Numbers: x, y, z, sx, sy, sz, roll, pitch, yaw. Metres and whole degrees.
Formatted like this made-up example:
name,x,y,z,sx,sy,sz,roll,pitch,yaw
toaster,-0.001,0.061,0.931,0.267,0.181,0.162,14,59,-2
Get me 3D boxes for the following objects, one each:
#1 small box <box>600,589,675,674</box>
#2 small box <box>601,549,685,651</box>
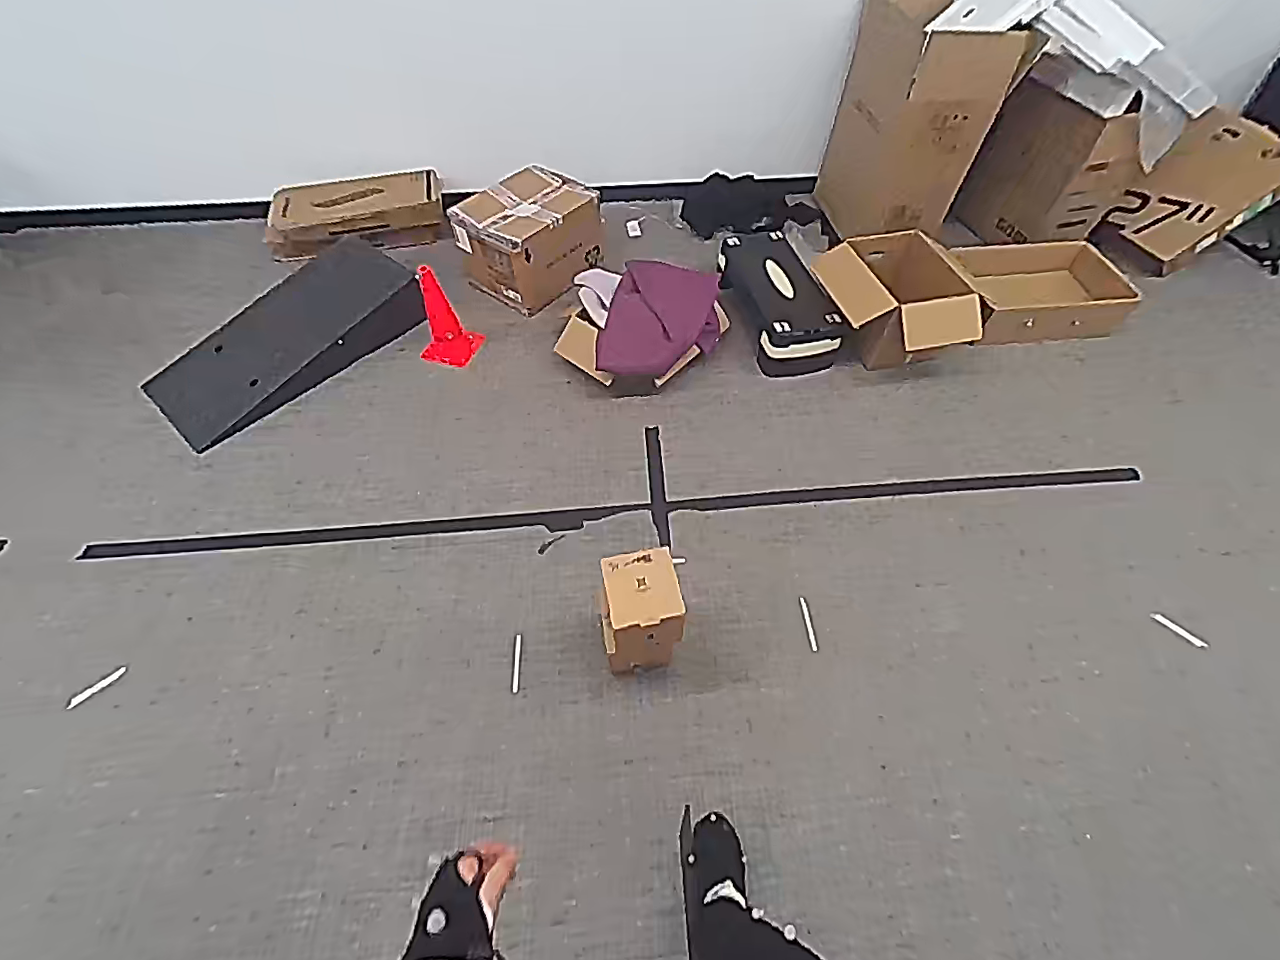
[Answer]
name,x,y,z,sx,sy,sz,roll,pitch,yaw
small box,-0.010,0.385,1.409,0.168,0.176,0.179,-10,56,-5
small box,0.006,0.289,1.276,0.168,0.176,0.179,-10,55,-6
